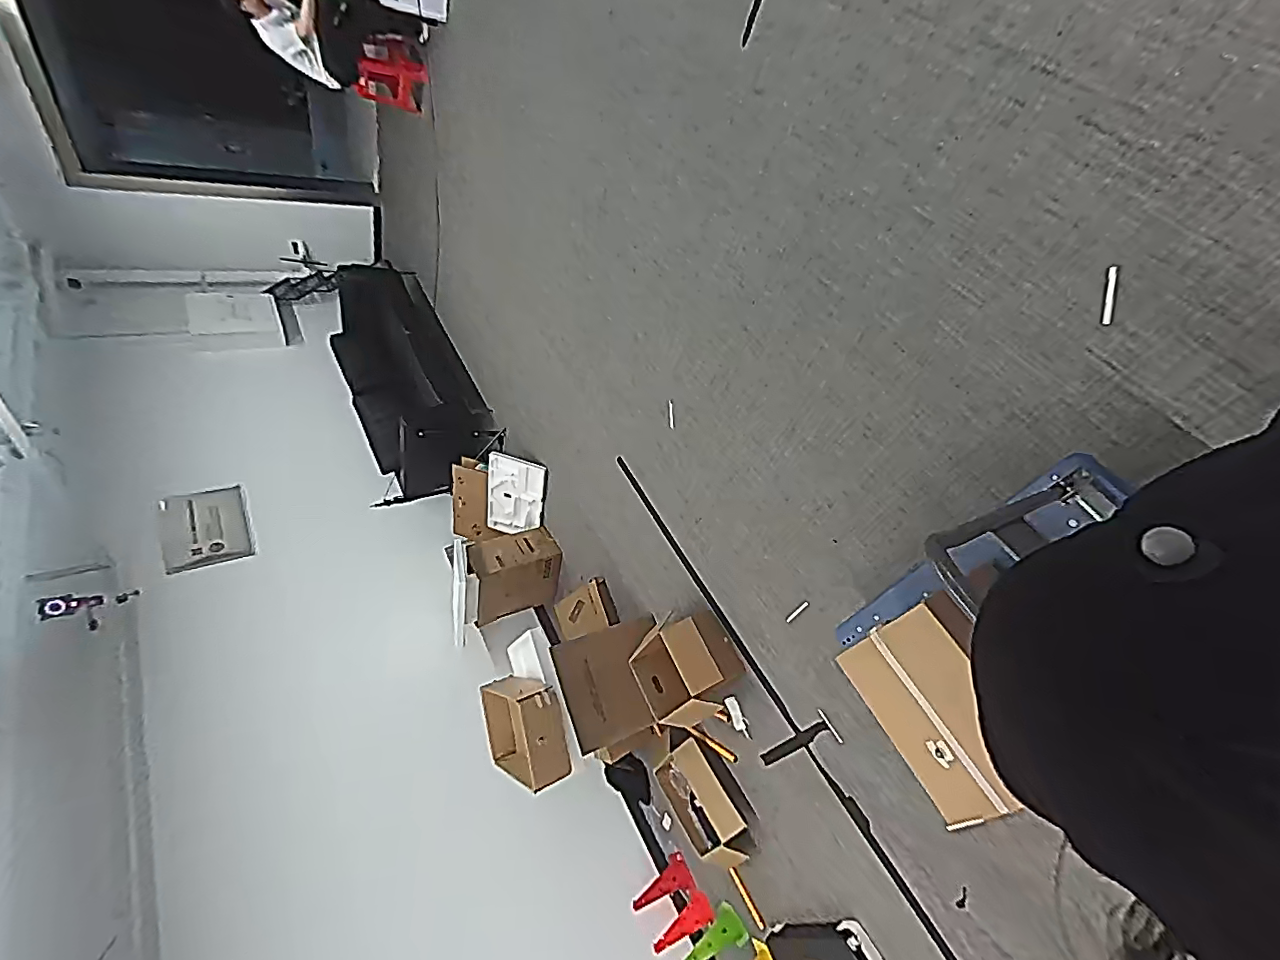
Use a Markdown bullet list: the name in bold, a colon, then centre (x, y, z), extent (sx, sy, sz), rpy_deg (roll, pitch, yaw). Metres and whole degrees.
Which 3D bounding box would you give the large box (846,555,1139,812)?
- **large box**: centre (0.772, 0.444, 1.226), extent (0.408, 0.320, 0.320), rpy_deg (58, 143, 26)
